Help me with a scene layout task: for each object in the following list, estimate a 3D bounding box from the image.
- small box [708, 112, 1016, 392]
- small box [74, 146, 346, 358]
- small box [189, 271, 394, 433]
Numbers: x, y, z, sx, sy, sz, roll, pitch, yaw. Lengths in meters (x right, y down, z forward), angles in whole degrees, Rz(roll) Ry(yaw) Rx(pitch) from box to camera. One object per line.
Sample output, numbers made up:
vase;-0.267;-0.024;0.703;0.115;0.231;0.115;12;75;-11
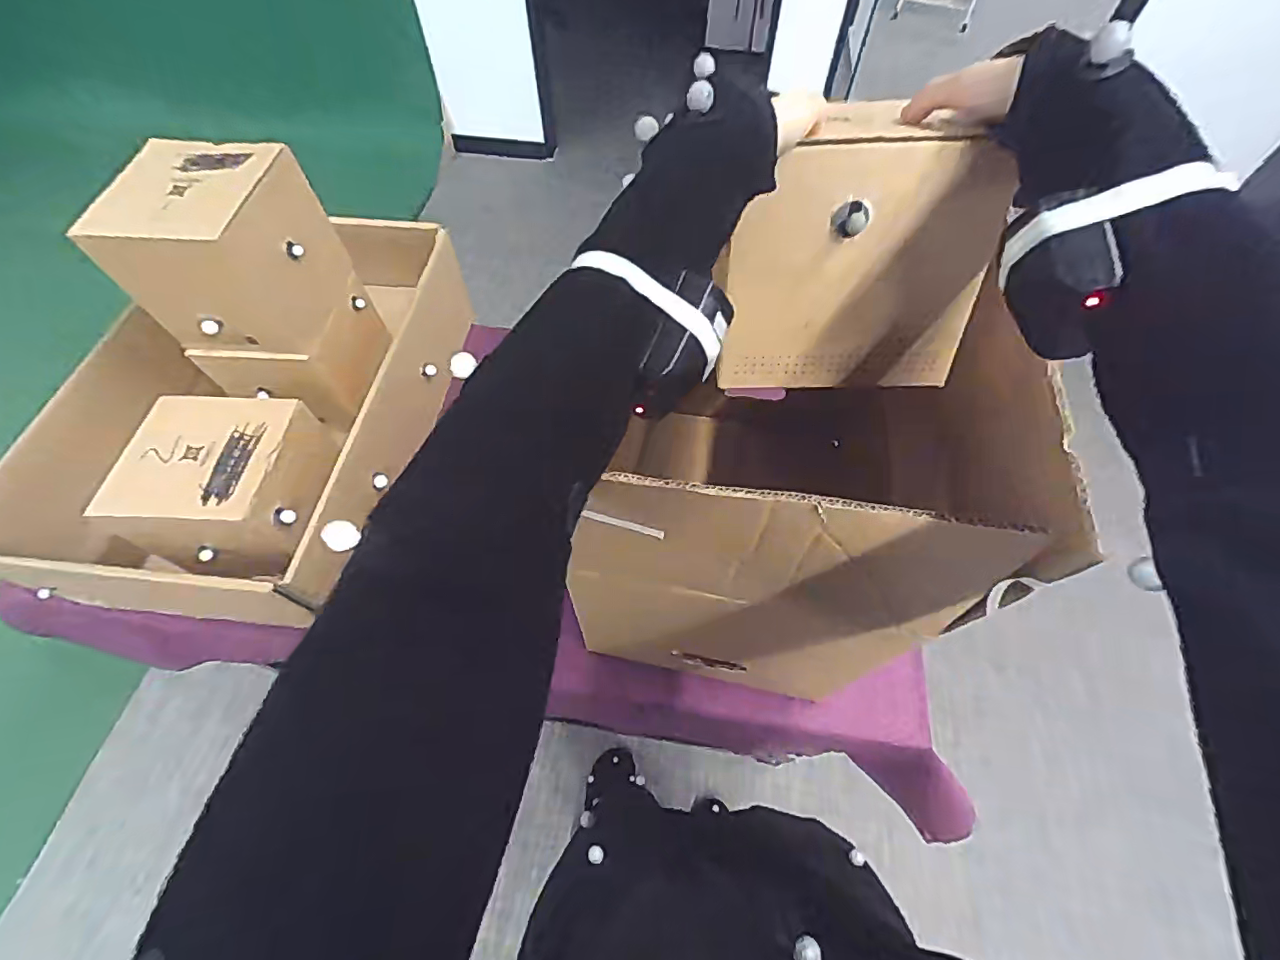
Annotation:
small box;0.145;-0.182;0.434;0.179;0.176;0.168;0;41;4
small box;-0.495;-0.274;0.662;0.168;0.176;0.179;3;61;4
small box;-0.493;-0.185;0.801;0.168;0.176;0.179;3;60;3
